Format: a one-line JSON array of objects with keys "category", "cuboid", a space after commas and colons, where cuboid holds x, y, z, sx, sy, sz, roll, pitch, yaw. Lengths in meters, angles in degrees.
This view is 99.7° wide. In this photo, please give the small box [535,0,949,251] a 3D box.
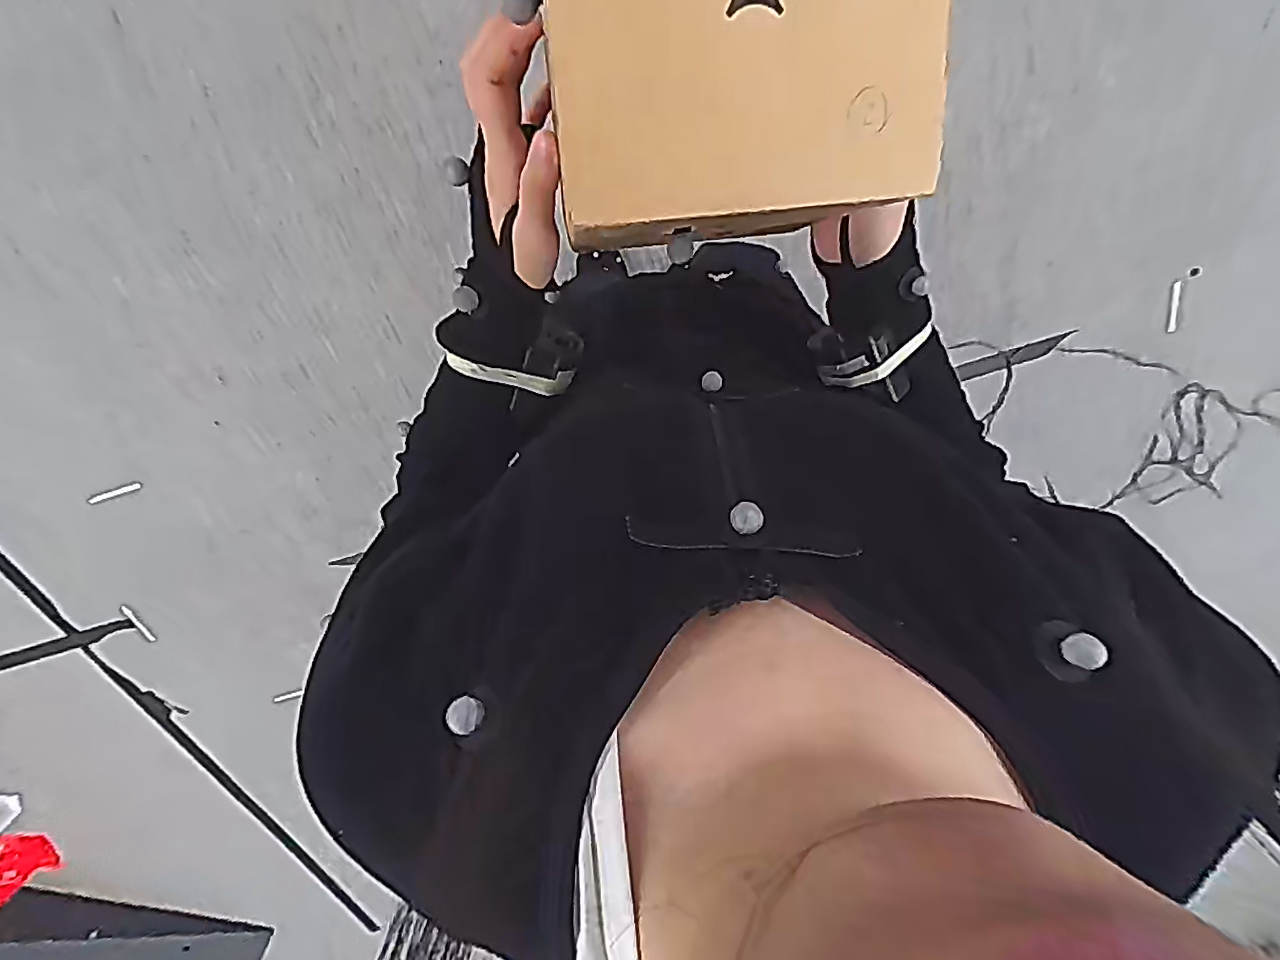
[{"category": "small box", "cuboid": [0.034, -0.221, 0.283, 0.168, 0.176, 0.179, -7, 109, -4]}]
